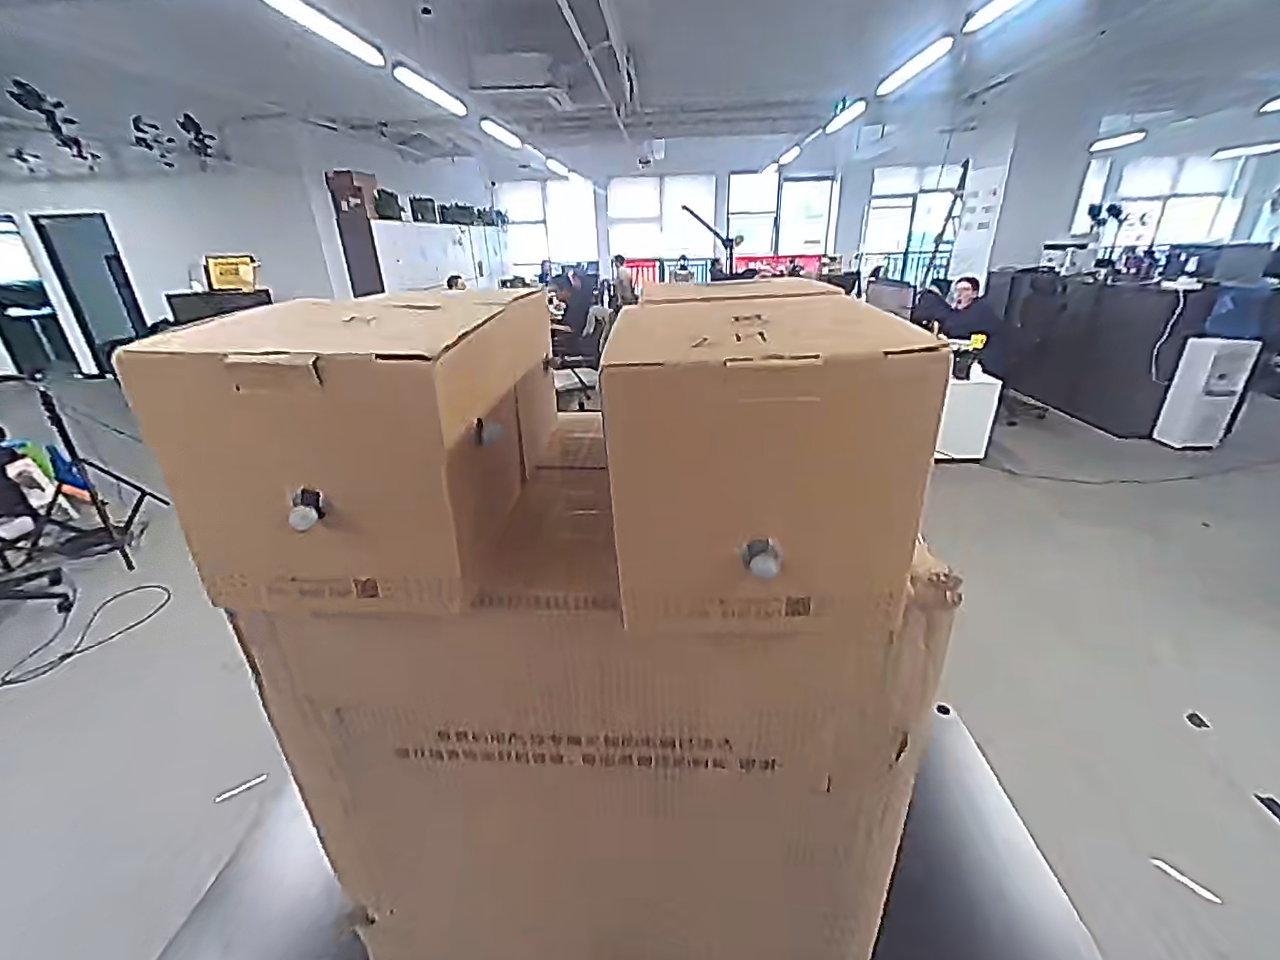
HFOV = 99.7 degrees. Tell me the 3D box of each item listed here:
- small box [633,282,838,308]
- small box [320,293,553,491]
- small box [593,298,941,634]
[{"bbox_3d":[0.082,-0.099,0.535,0.168,0.176,0.179,-3,23,3],"label":"small box"},{"bbox_3d":[-0.189,-0.099,0.564,0.168,0.176,0.179,-1,24,3],"label":"small box"},{"bbox_3d":[0.067,-0.020,0.363,0.168,0.176,0.179,-3,27,4],"label":"small box"}]
